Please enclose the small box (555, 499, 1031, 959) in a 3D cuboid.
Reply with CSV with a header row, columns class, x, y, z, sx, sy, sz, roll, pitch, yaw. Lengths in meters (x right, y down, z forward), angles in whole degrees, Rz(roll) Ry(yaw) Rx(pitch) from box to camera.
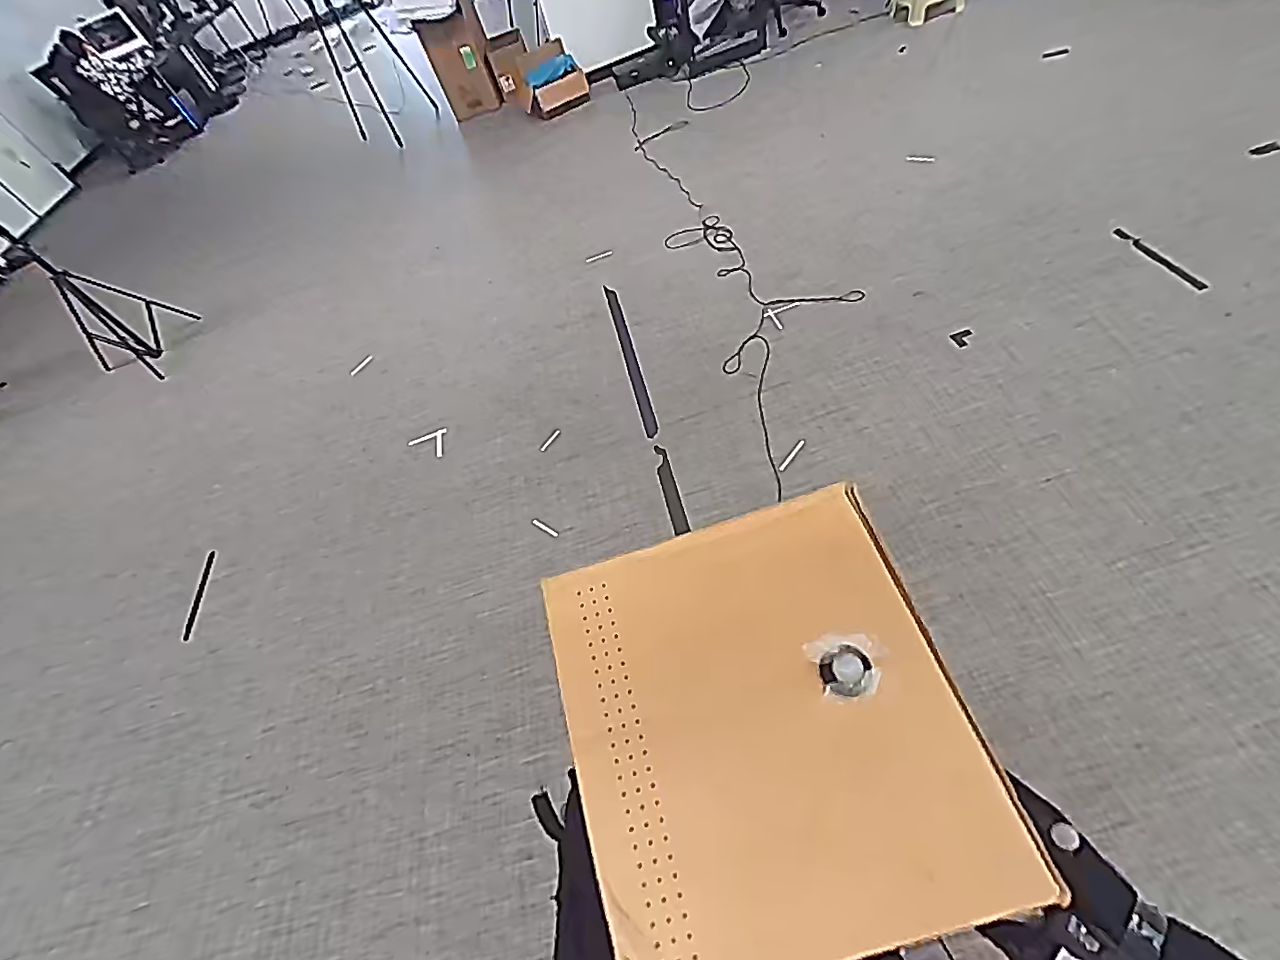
class,x,y,z,sx,sy,sz,roll,pitch,yaw
small box,0.061,0.142,0.314,0.176,0.168,0.179,-19,62,3
